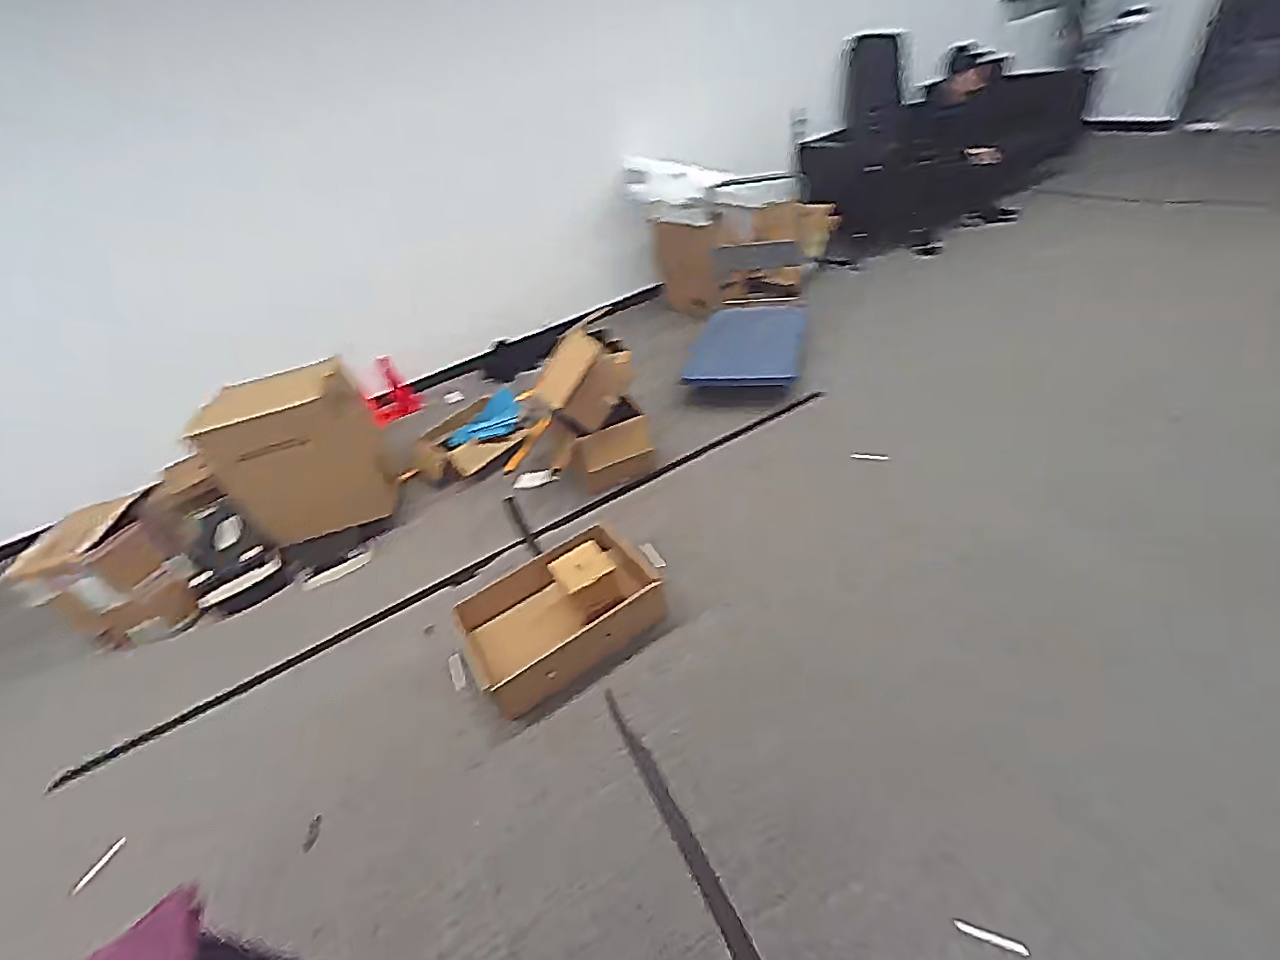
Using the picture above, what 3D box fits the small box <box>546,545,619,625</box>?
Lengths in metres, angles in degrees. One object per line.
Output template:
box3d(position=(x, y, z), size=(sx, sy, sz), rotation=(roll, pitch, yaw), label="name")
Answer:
box3d(position=(-0.196, 0.362, 1.864), size=(0.168, 0.176, 0.179), rotation=(-30, 41, -19), label="small box")
